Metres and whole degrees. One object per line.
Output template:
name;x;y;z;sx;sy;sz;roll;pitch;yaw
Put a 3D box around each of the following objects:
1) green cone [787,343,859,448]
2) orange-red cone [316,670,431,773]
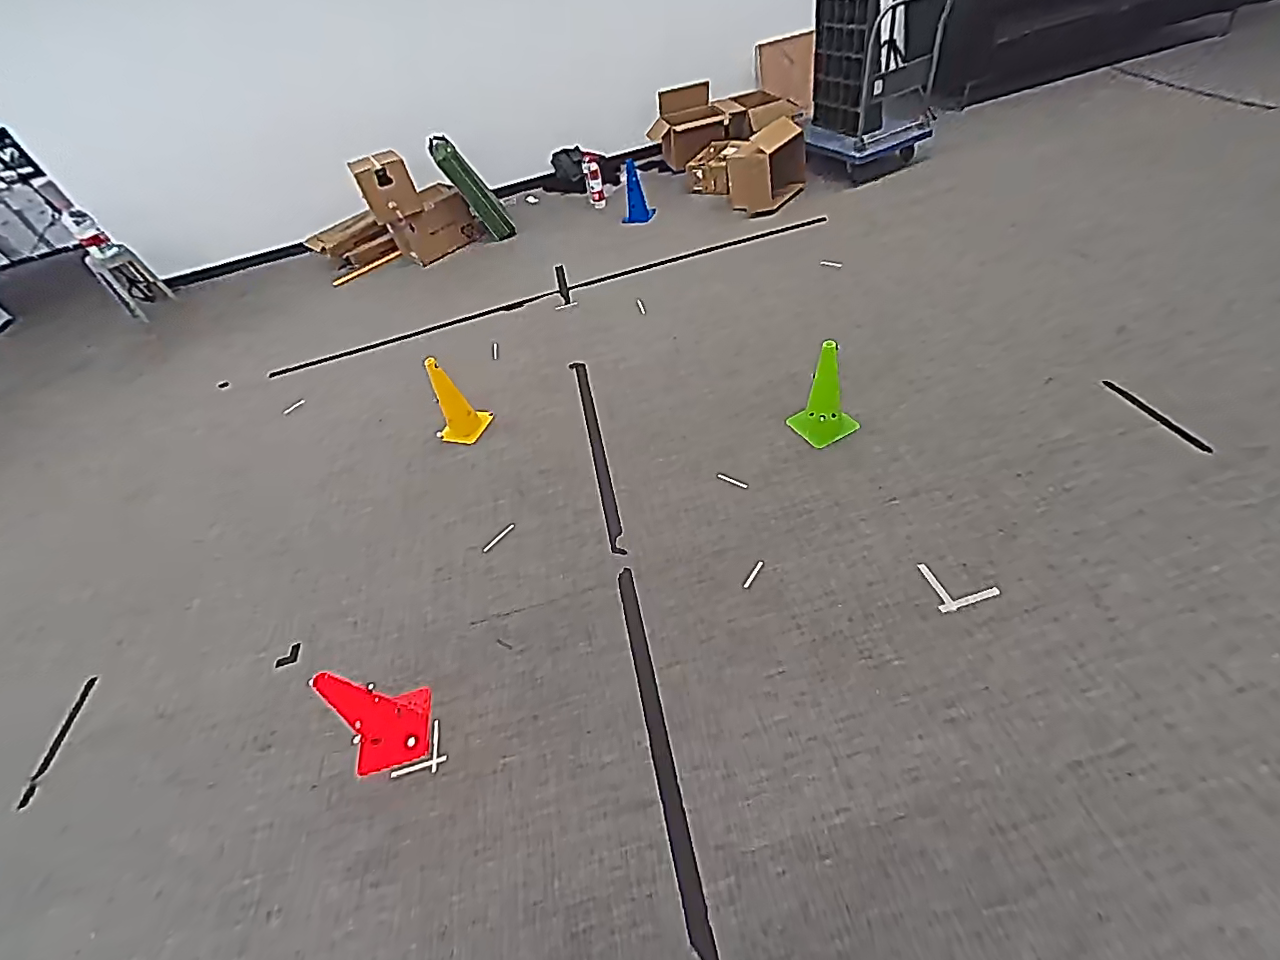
green cone;0.655;-0.324;1.908;0.200;0.368;0.202;-27;48;-11
orange-red cone;-0.717;0.582;1.393;0.198;0.360;0.199;-16;44;-2
